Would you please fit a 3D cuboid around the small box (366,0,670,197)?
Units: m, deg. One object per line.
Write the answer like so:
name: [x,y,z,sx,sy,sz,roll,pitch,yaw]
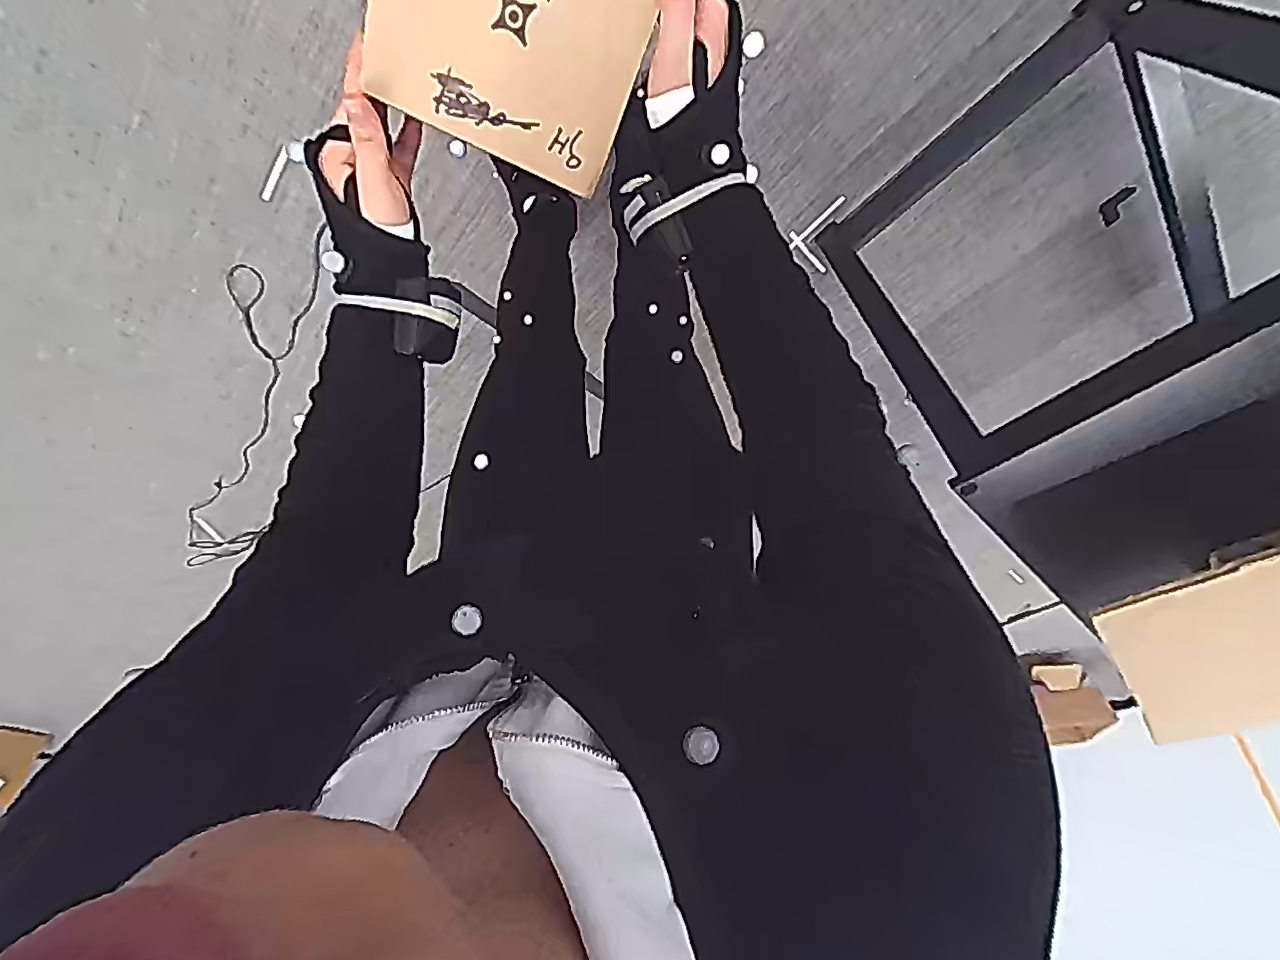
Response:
small box: [-0.081,-0.348,0.406,0.168,0.176,0.179,18,120,-19]
